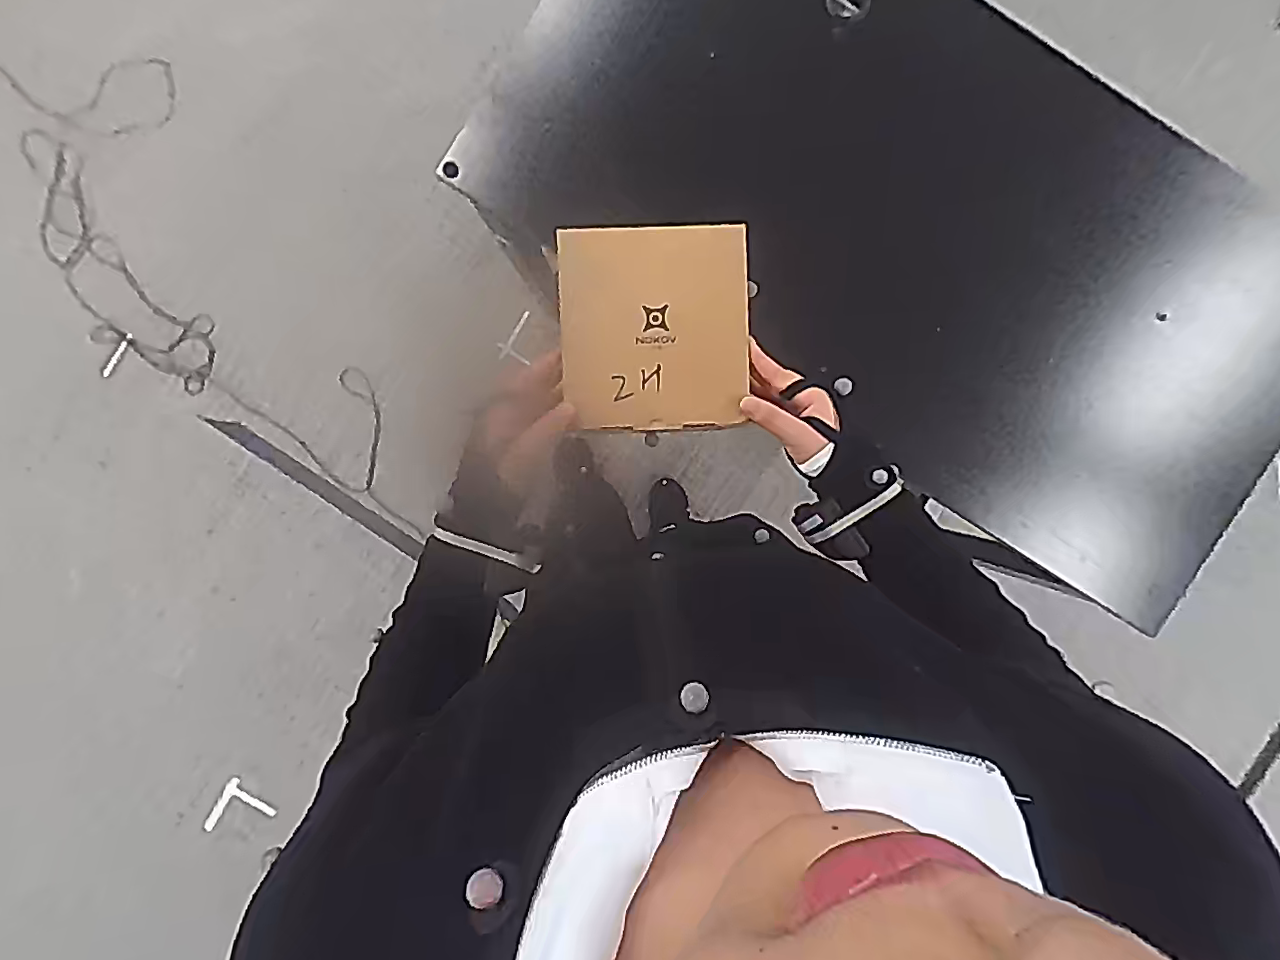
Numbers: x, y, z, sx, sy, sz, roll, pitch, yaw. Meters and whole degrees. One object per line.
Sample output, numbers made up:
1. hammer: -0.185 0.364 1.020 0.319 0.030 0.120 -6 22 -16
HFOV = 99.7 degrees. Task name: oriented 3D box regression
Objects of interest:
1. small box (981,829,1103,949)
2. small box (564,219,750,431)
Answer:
1. small box: 1.082 1.099 1.472 0.179 0.176 0.168 26 92 -1
2. small box: 0.014 -0.143 0.554 0.168 0.176 0.179 -1 93 -1
